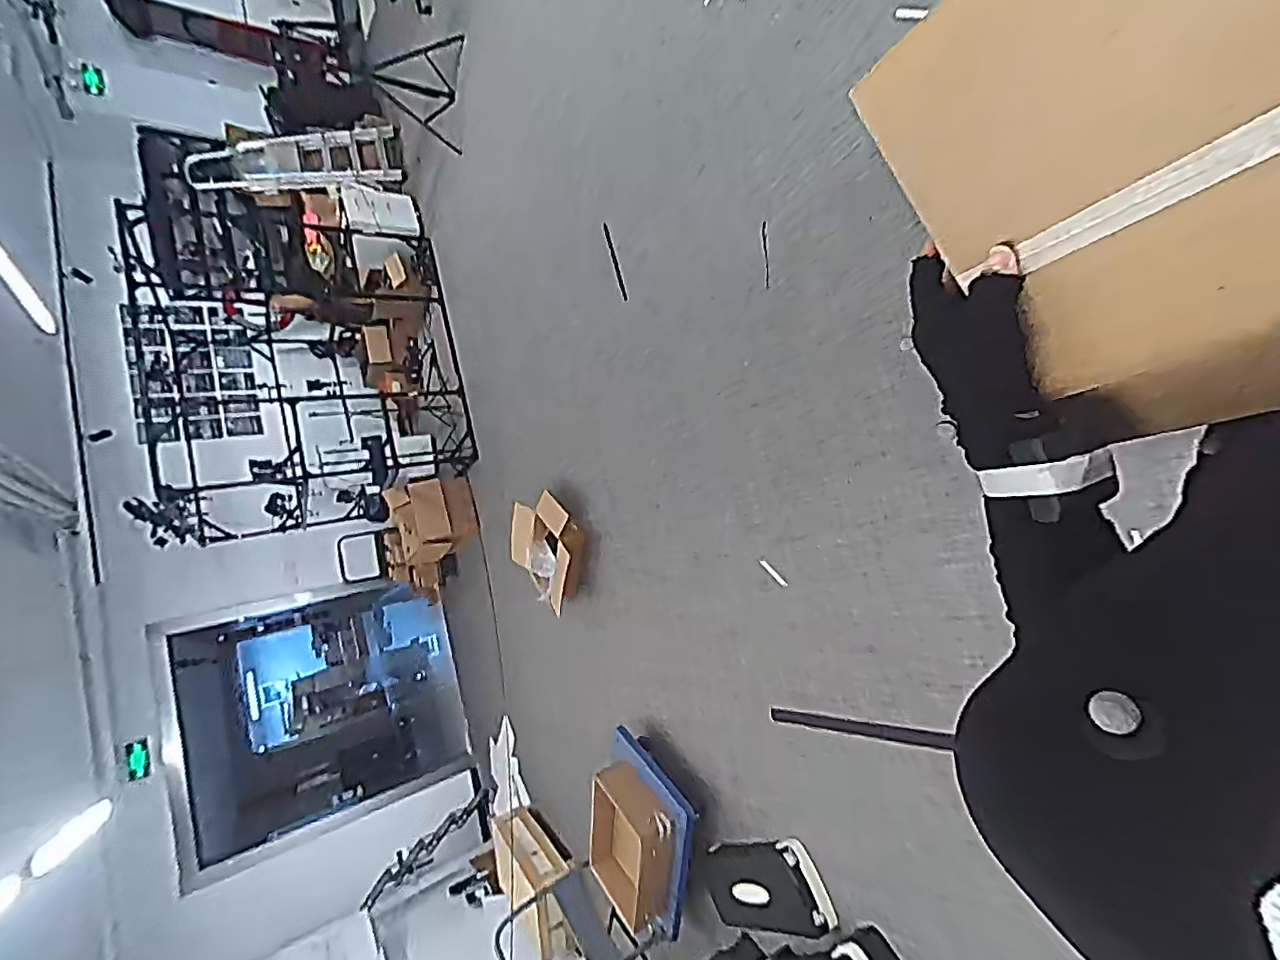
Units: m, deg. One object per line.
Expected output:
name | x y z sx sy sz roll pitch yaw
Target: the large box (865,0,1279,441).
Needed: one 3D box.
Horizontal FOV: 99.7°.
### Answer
large box | 0.434 -0.277 0.317 0.320 0.320 0.408 51 148 -11
